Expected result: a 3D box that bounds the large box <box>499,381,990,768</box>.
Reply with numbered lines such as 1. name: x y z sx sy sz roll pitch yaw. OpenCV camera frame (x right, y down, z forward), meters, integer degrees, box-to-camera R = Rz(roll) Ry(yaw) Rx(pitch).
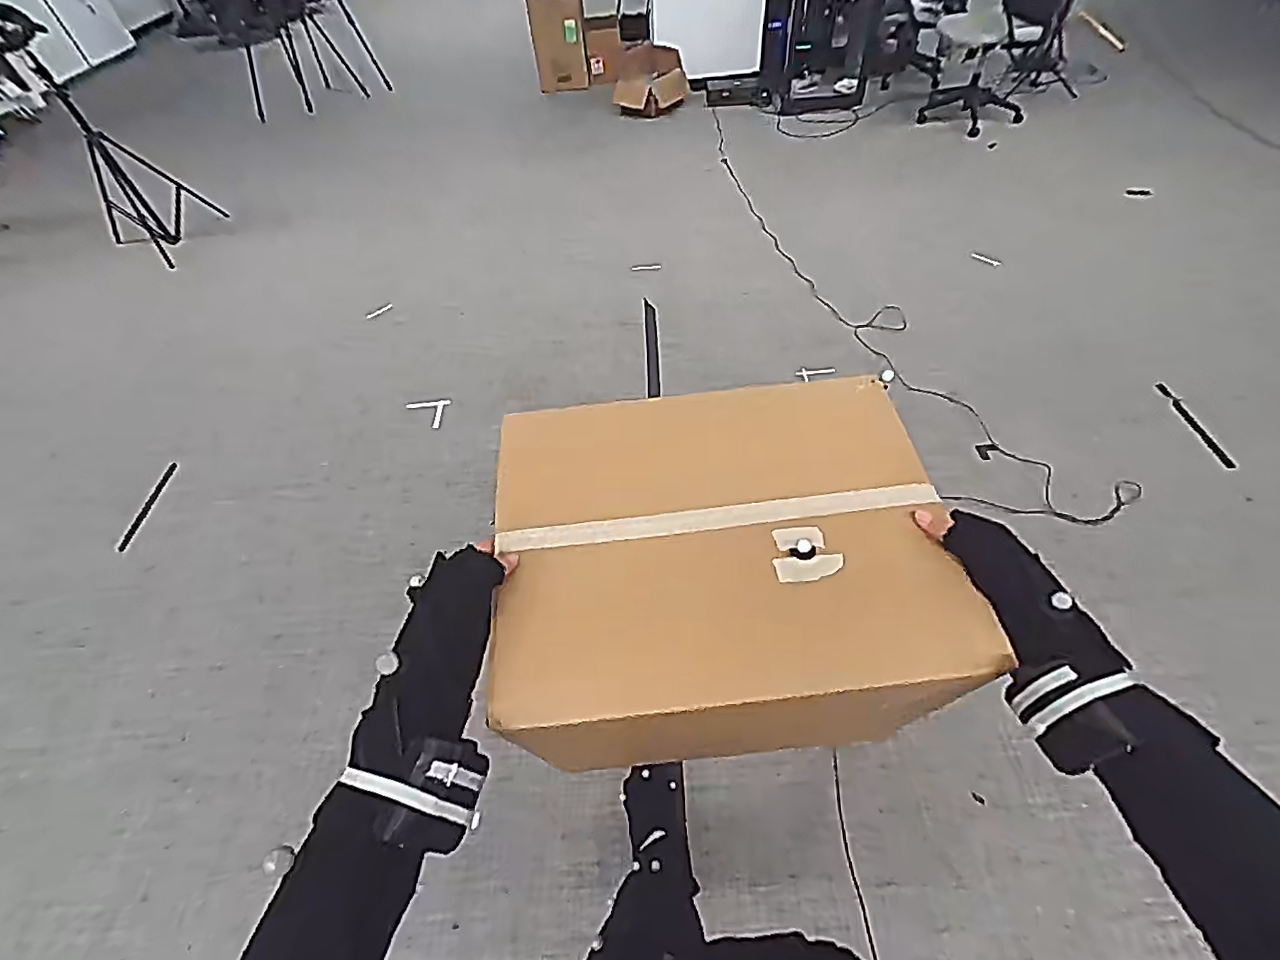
1. large box: 0.075 0.122 0.630 0.408 0.320 0.320 -6 56 -1
